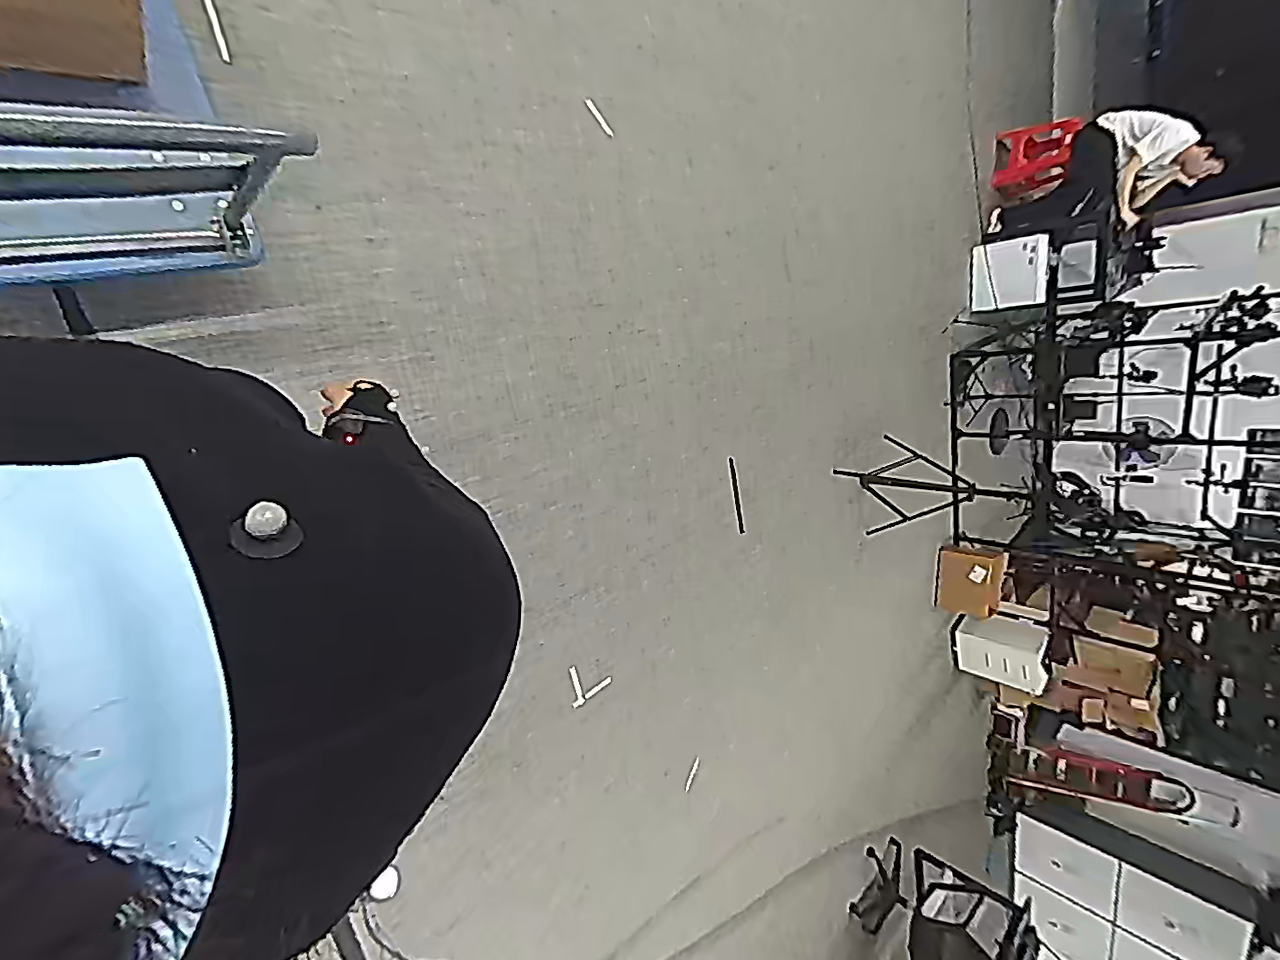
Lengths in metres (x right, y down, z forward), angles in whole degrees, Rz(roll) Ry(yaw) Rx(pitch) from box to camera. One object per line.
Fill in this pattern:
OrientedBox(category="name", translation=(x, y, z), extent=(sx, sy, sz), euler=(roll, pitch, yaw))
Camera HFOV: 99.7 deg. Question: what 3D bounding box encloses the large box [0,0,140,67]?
OrientedBox(category="large box", translation=(-0.949, -0.777, 0.673), extent=(0.408, 0.320, 0.320), euler=(-23, 109, -36))
